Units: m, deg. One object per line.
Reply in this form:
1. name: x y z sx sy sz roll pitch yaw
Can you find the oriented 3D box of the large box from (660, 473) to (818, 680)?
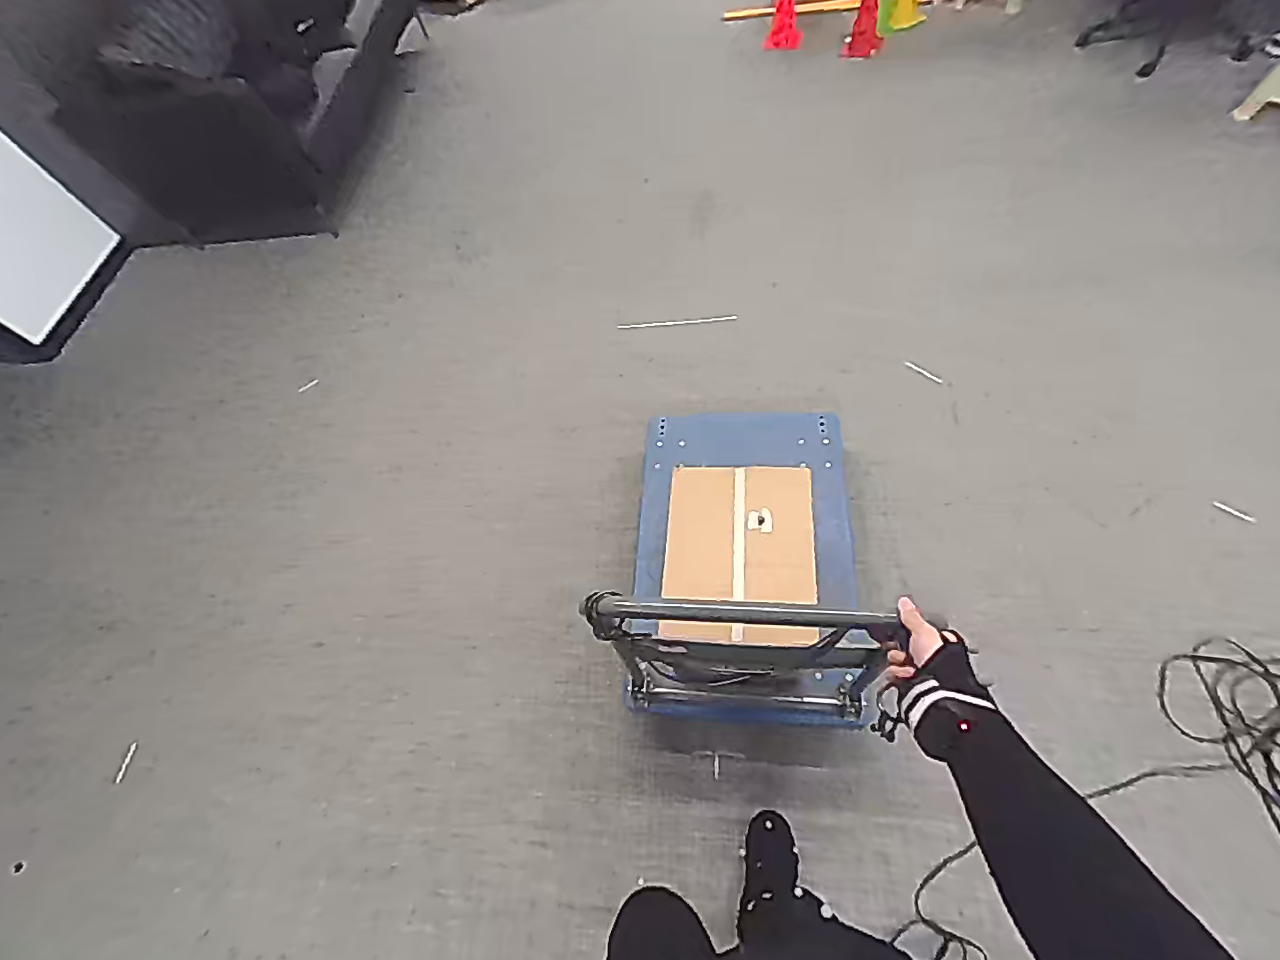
1. large box: 0.233 0.233 1.287 0.320 0.320 0.408 1 60 10
